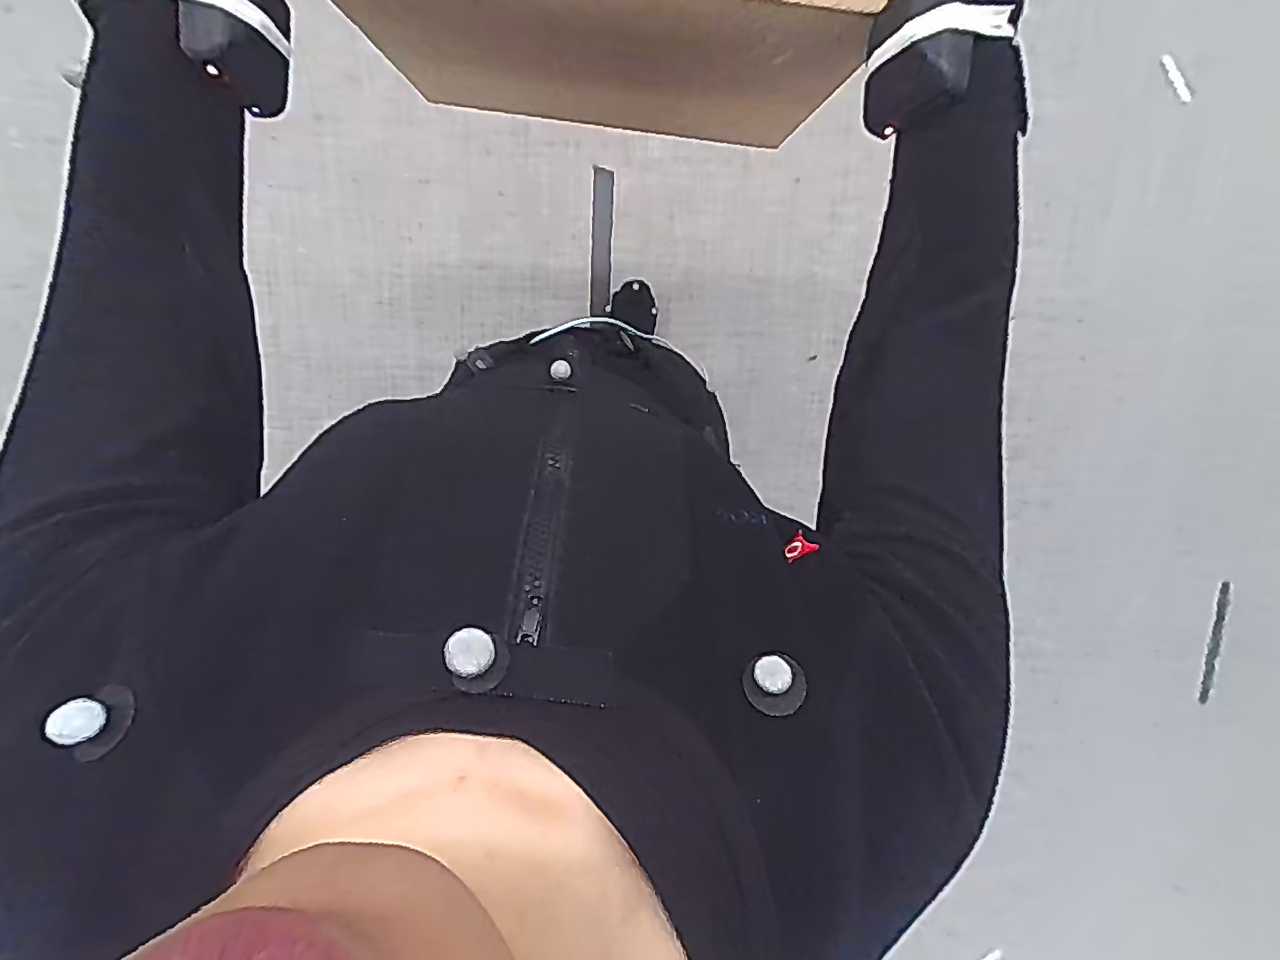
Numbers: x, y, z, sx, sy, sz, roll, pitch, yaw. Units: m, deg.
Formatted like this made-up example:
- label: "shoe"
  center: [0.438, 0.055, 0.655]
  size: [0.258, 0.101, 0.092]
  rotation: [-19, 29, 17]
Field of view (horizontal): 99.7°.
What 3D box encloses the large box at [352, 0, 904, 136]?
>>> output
- label: "large box"
  center: [-0.016, -0.512, 0.436]
  size: [0.408, 0.320, 0.320]
  rotation: [5, 109, -4]
